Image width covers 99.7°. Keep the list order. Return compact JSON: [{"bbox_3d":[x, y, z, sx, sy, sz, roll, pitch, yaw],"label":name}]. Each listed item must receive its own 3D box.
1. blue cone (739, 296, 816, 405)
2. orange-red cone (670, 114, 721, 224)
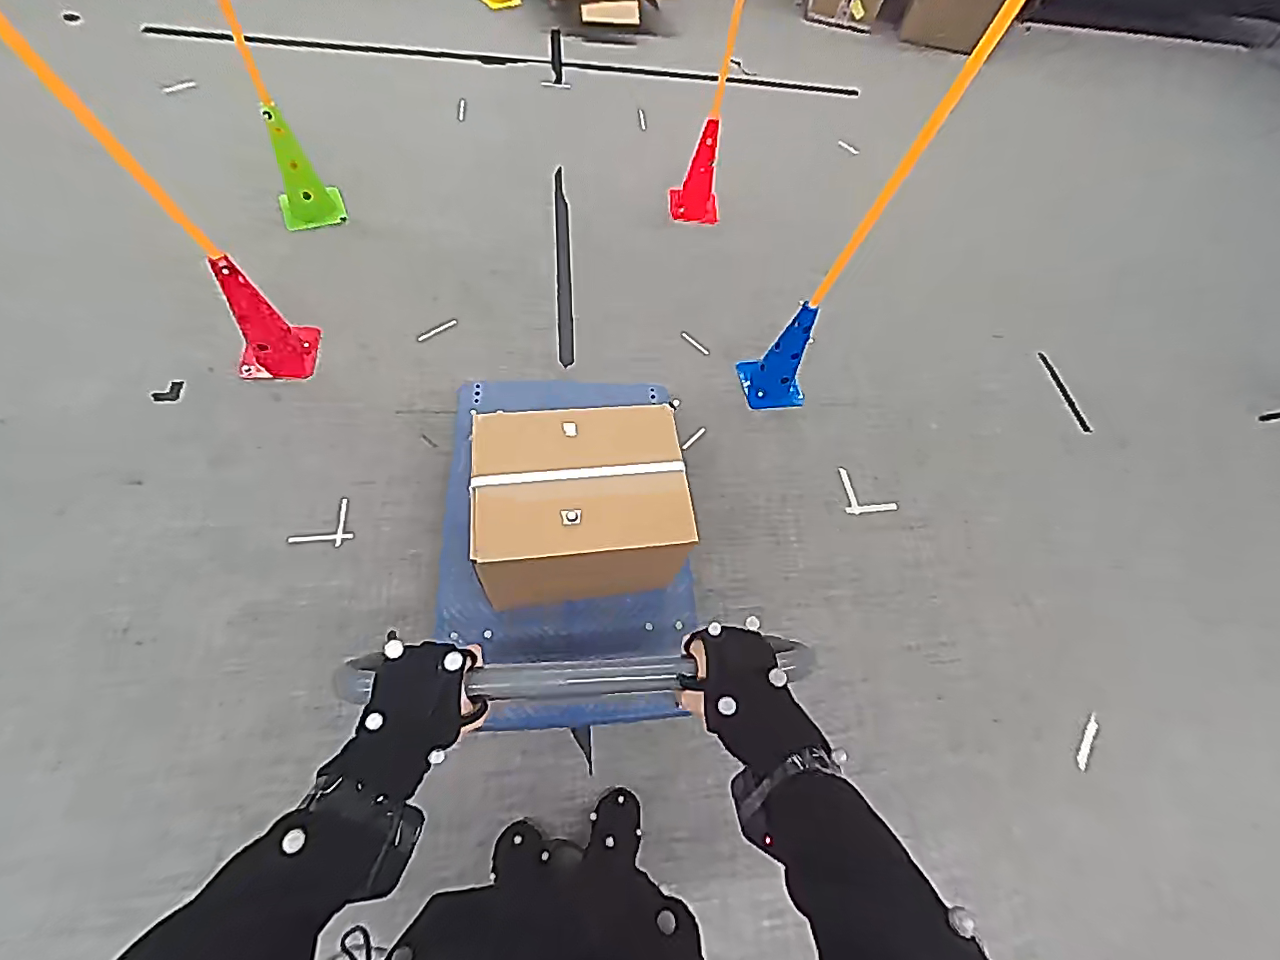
[{"bbox_3d":[0.465,-0.413,1.698,0.193,0.380,0.192,-5,62,-12],"label":"blue cone"},{"bbox_3d":[0.248,-1.212,2.078,0.199,0.360,0.198,5,62,-7],"label":"orange-red cone"}]
